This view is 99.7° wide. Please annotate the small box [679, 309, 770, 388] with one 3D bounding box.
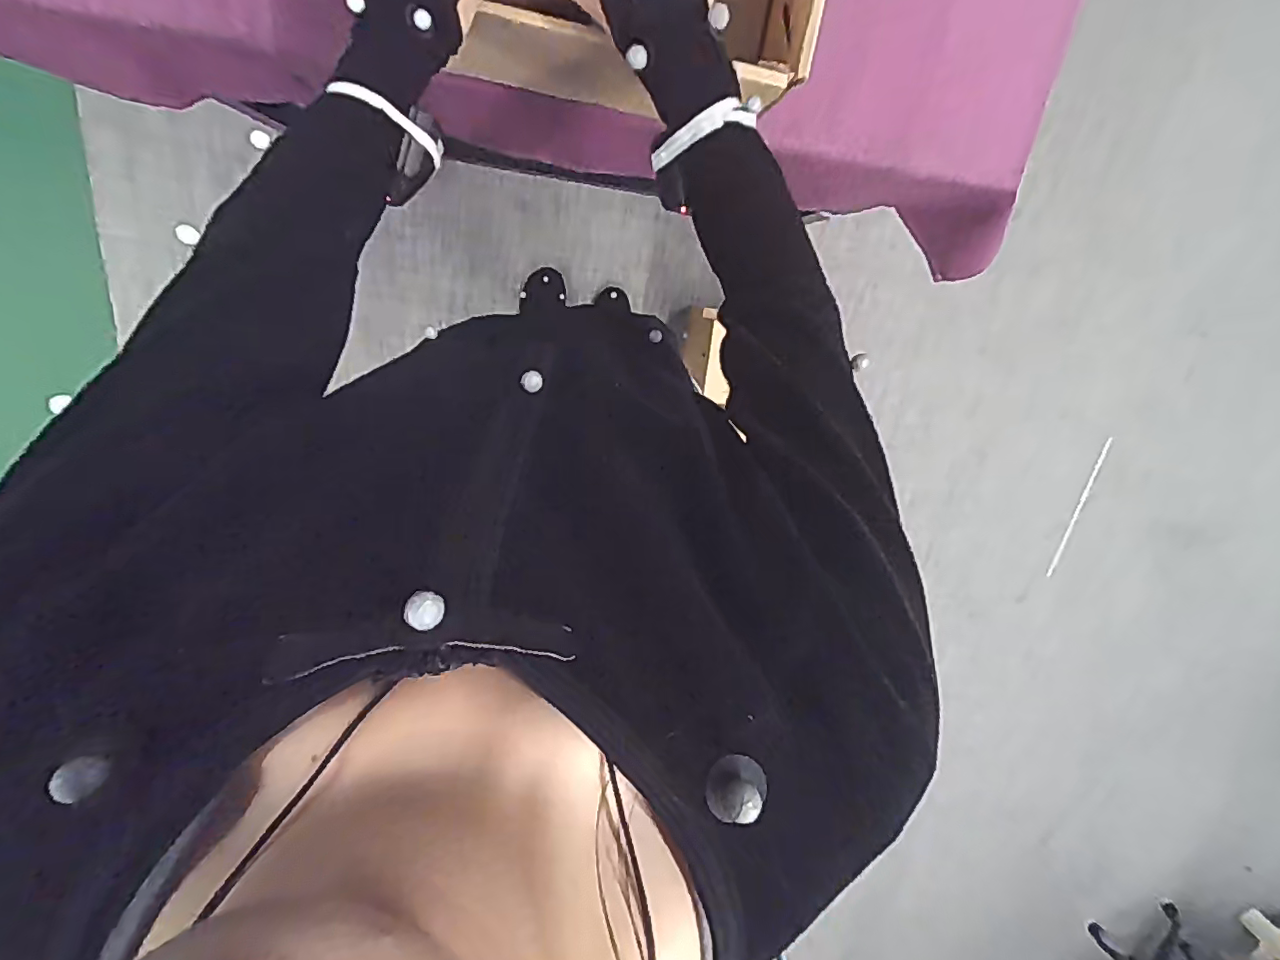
[{"bbox_3d":[0.209,-0.340,1.378,0.179,0.176,0.168,5,109,-7],"label":"small box"}]
